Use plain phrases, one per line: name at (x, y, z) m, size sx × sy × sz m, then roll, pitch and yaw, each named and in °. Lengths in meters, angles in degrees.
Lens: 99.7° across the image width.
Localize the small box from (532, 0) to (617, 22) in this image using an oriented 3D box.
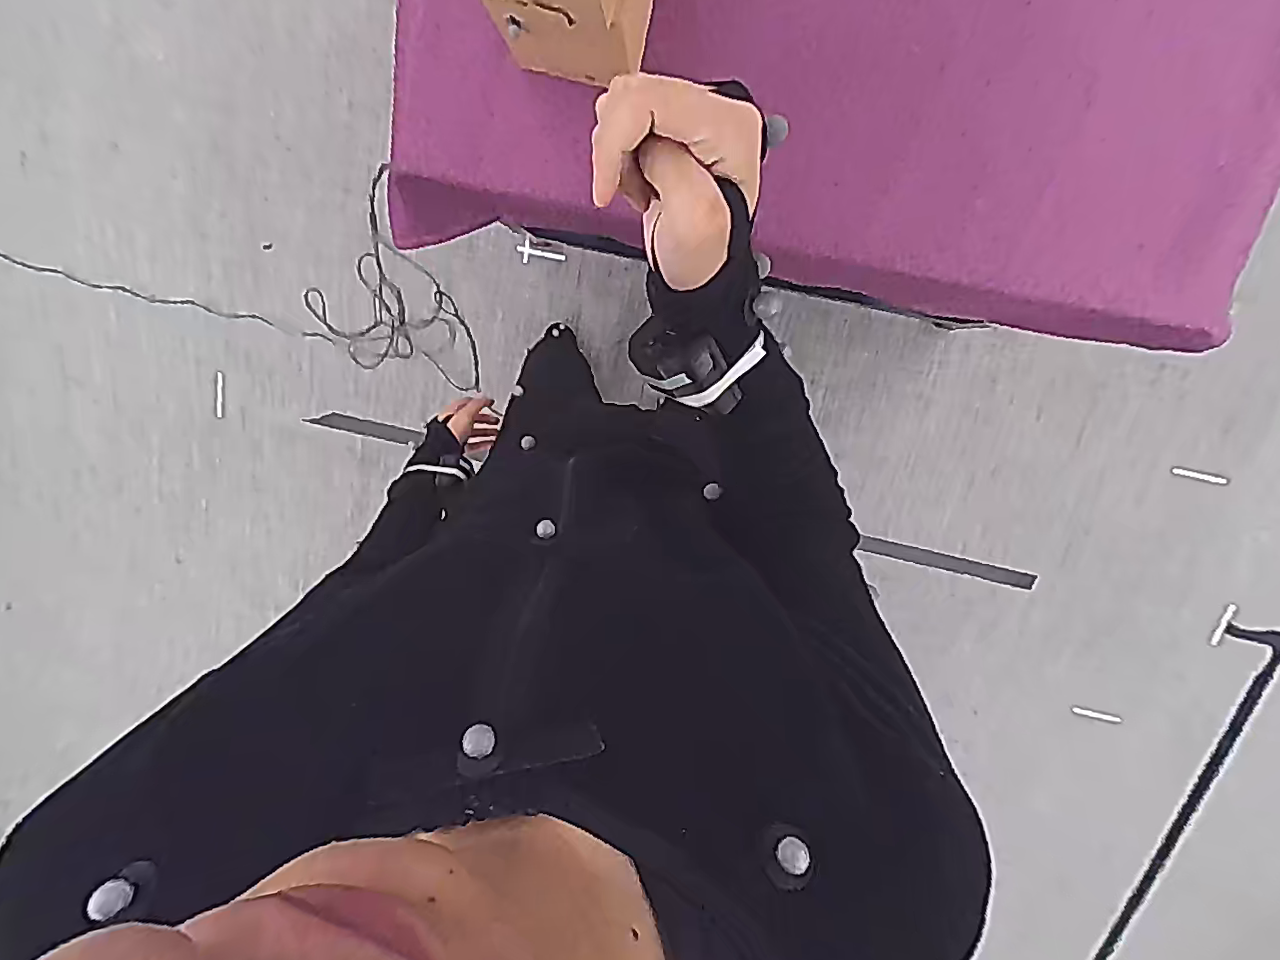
small box at (-0.095, -0.572, 0.490) m, size 0.179 × 0.176 × 0.168 m, roll 19°, pitch 105°, yaw -1°
